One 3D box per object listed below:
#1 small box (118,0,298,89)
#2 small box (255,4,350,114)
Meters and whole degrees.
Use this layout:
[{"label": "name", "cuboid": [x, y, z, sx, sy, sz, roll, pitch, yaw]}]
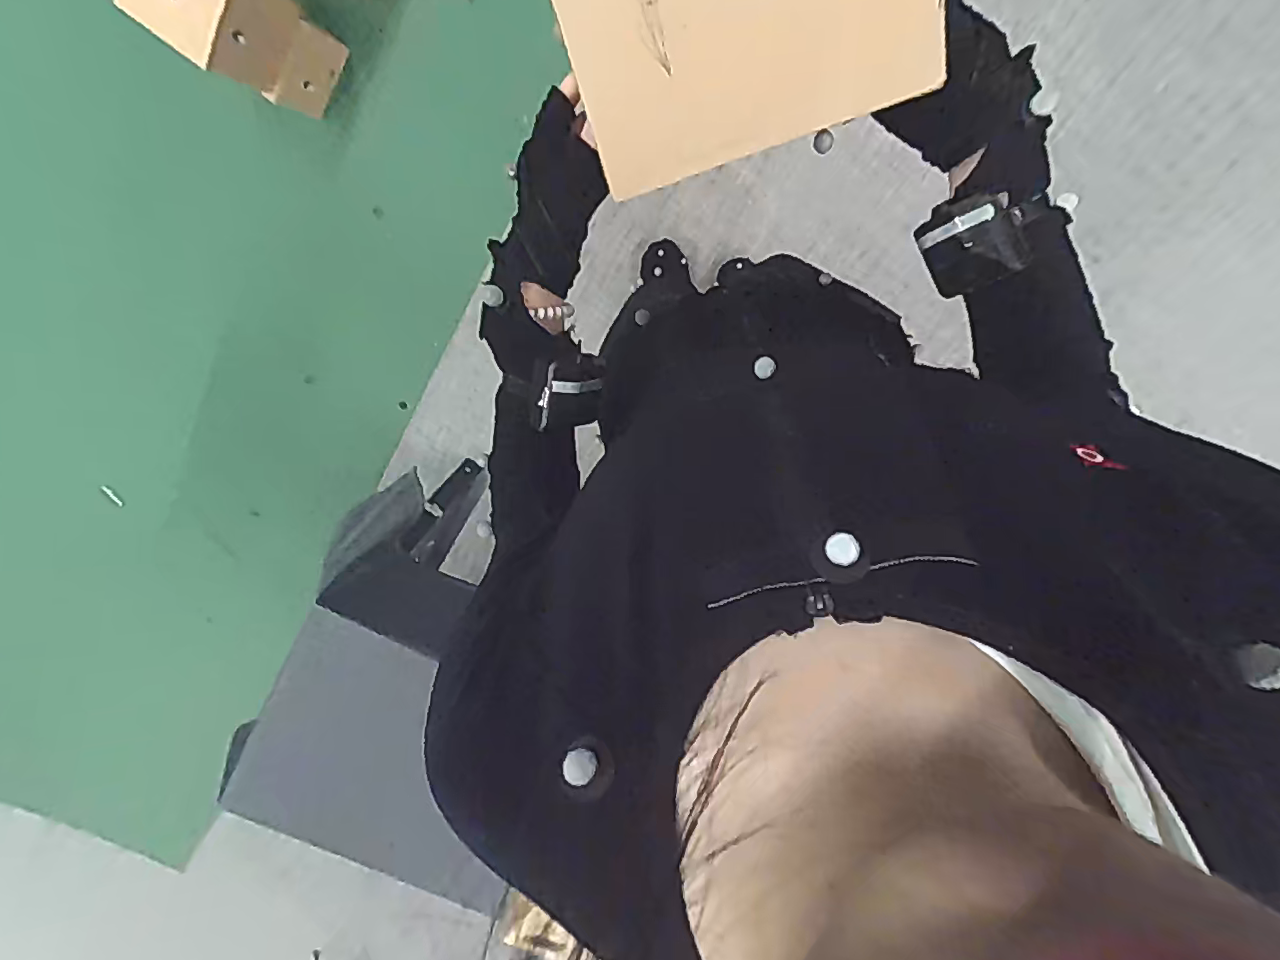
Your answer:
[{"label": "small box", "cuboid": [-0.763, -0.855, 0.972, 0.168, 0.176, 0.179, 35, 110, -11]}, {"label": "small box", "cuboid": [-0.751, -0.906, 1.129, 0.179, 0.176, 0.168, 36, 110, -11]}]
